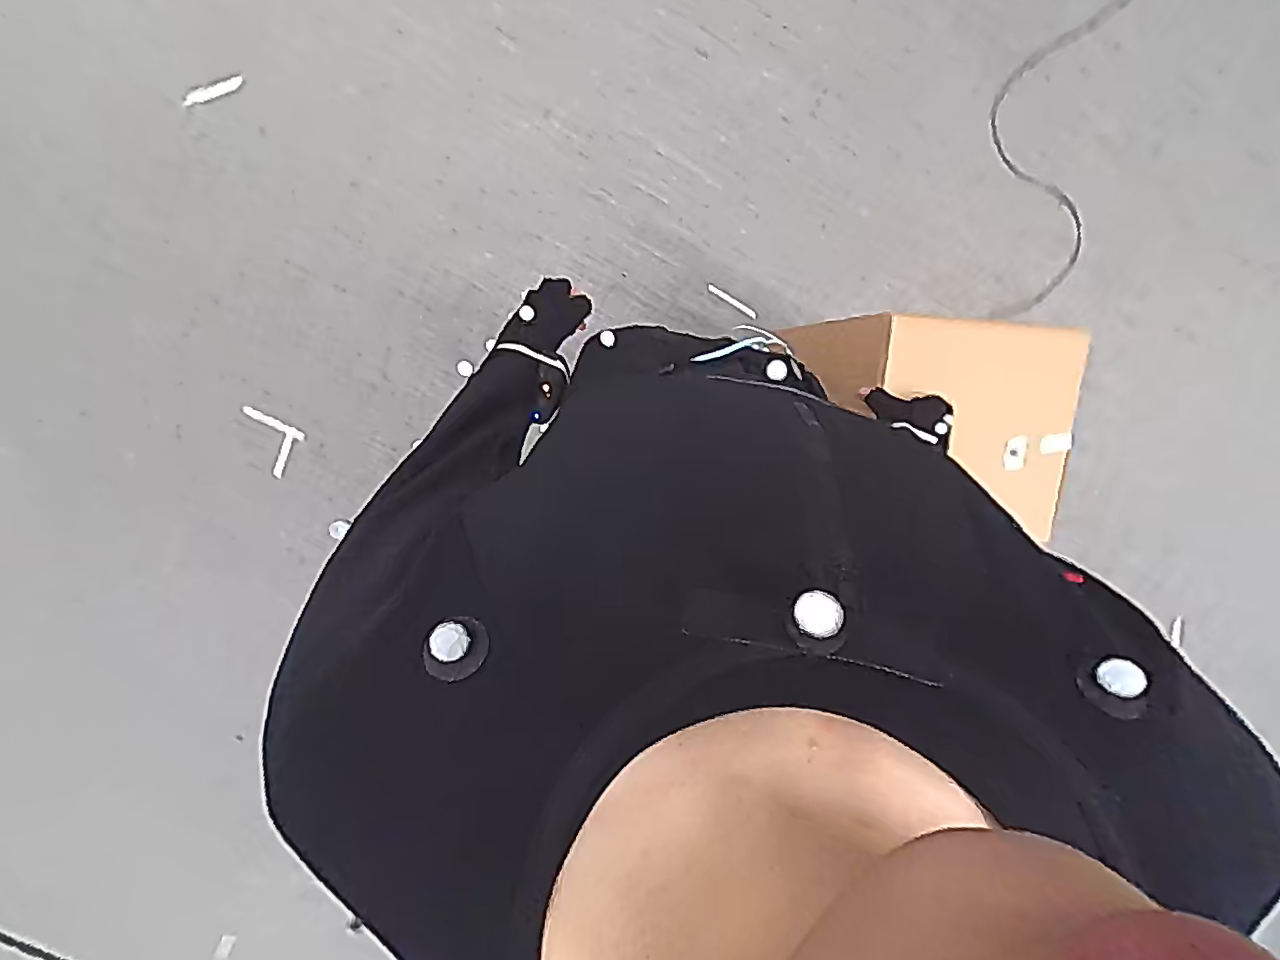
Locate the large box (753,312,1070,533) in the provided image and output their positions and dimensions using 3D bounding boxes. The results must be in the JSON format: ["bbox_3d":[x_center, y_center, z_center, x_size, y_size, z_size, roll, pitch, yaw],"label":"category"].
[{"bbox_3d":[0.429,-0.106,0.955,0.320,0.408,0.320,3,102,-10],"label":"large box"}]
